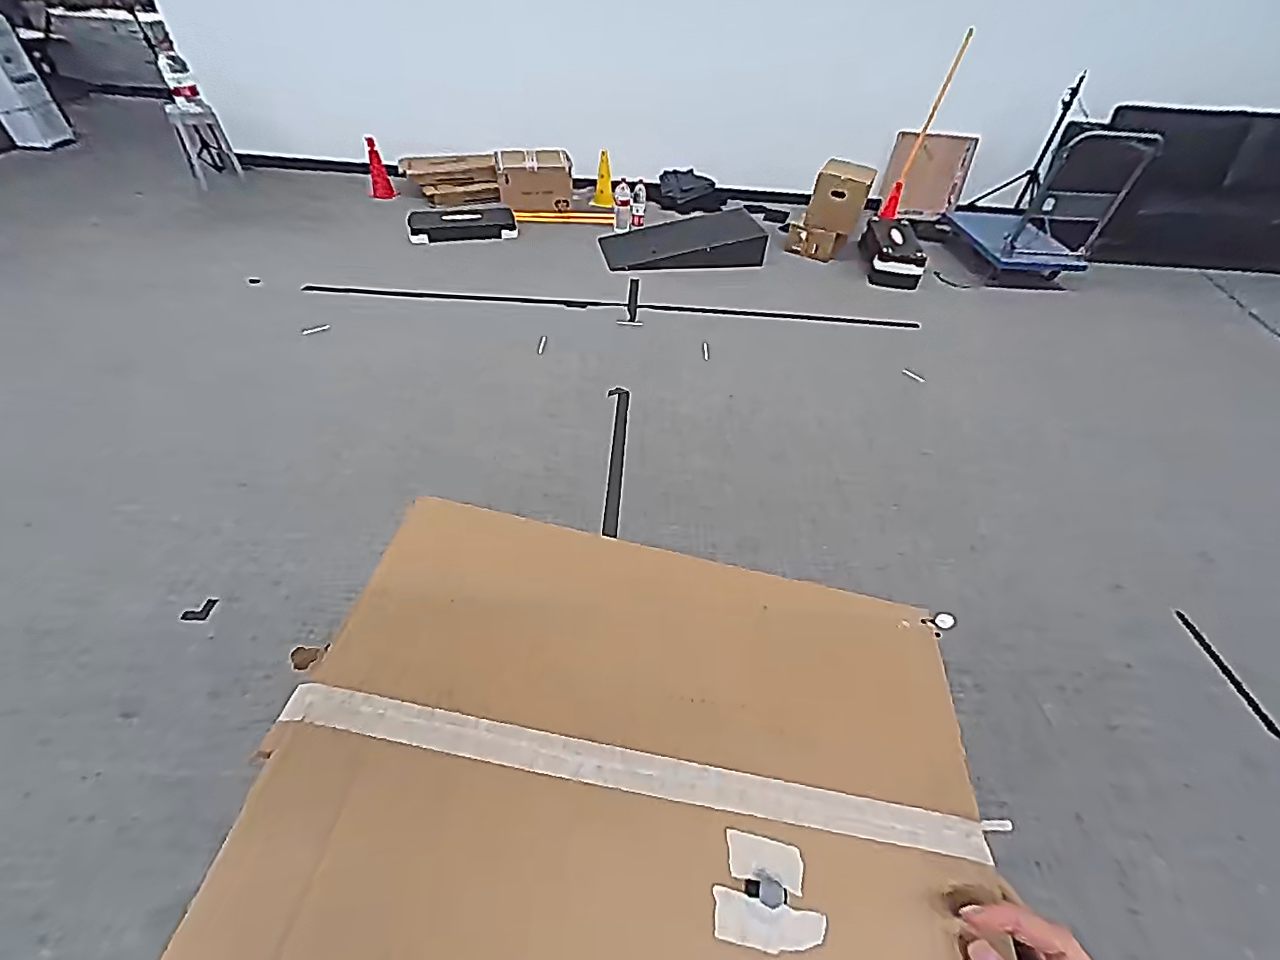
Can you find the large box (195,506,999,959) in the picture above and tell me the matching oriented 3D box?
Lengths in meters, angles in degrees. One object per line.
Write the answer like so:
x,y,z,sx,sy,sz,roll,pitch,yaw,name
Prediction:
-0.019,0.269,0.434,0.408,0.320,0.320,14,49,-3,large box
